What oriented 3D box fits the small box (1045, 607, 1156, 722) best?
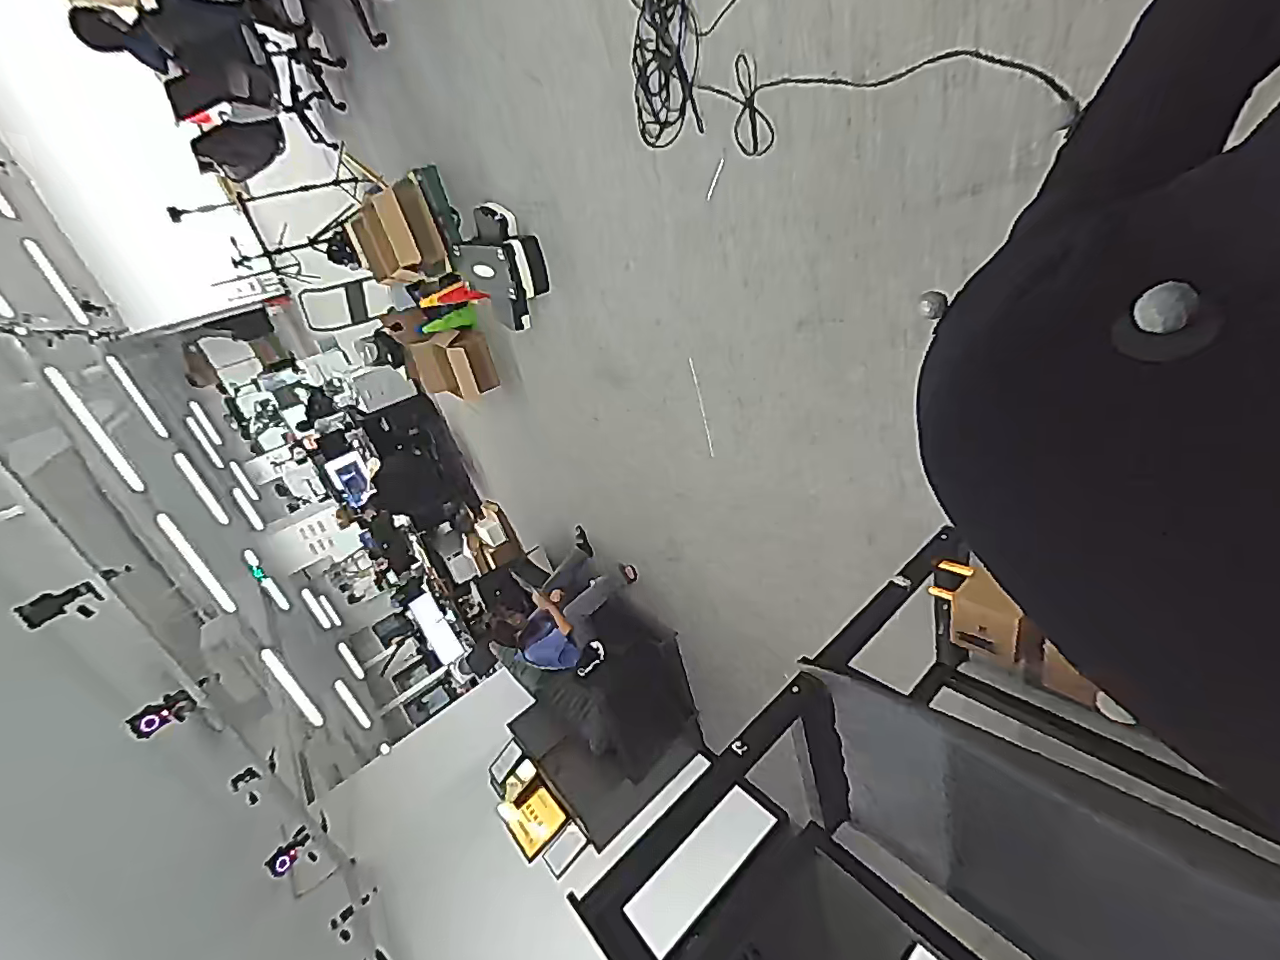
[{"bbox_3d":[1.140,0.445,1.340,0.168,0.176,0.179,18,131,51],"label":"small box"}]
